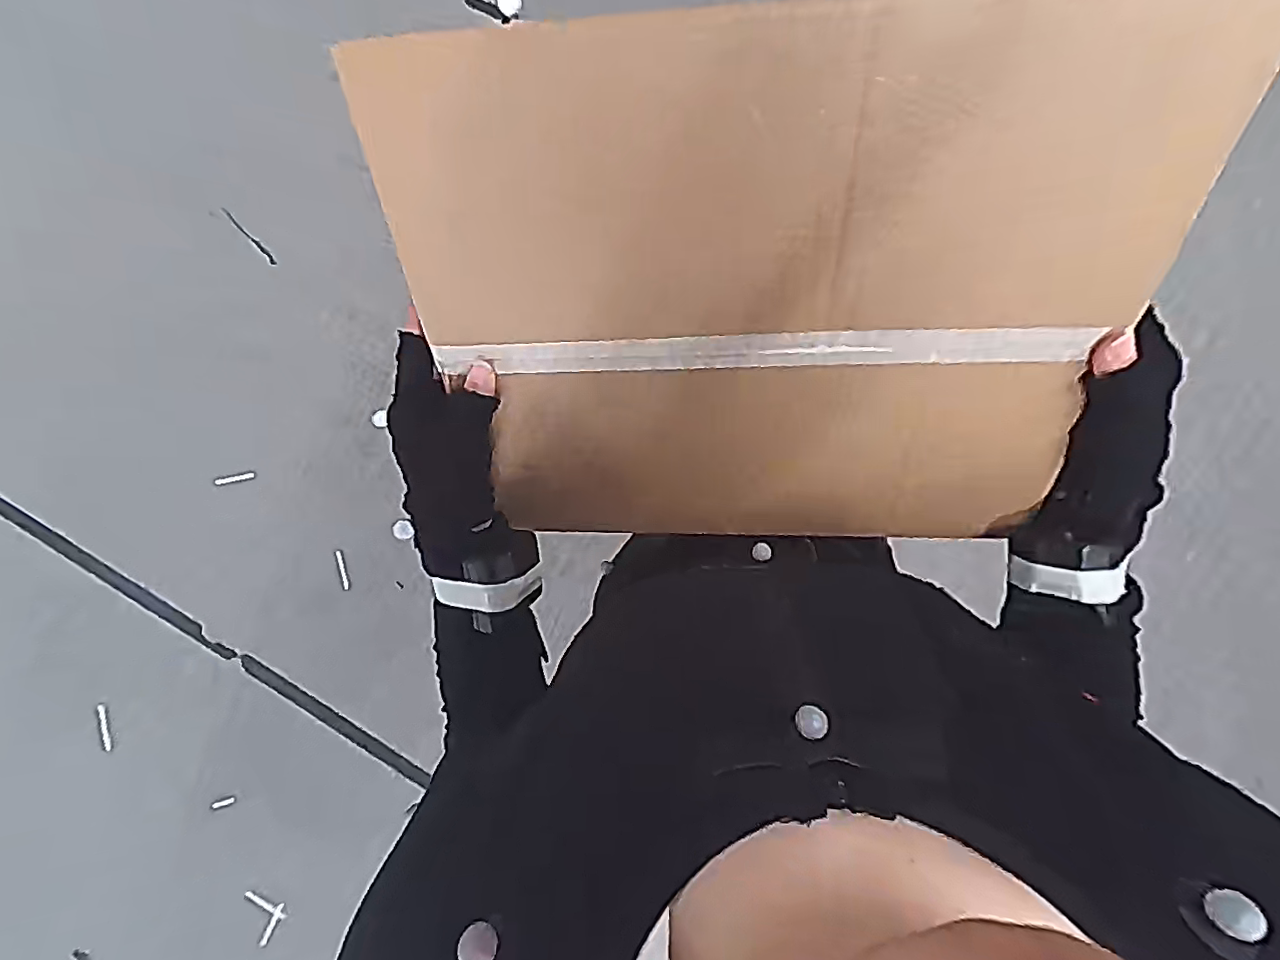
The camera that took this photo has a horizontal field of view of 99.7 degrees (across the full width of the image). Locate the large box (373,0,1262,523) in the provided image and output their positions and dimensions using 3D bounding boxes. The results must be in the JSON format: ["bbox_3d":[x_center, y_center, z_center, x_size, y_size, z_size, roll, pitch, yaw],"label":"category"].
[{"bbox_3d":[0.083,-0.178,0.452,0.408,0.320,0.320,0,131,5],"label":"large box"}]
